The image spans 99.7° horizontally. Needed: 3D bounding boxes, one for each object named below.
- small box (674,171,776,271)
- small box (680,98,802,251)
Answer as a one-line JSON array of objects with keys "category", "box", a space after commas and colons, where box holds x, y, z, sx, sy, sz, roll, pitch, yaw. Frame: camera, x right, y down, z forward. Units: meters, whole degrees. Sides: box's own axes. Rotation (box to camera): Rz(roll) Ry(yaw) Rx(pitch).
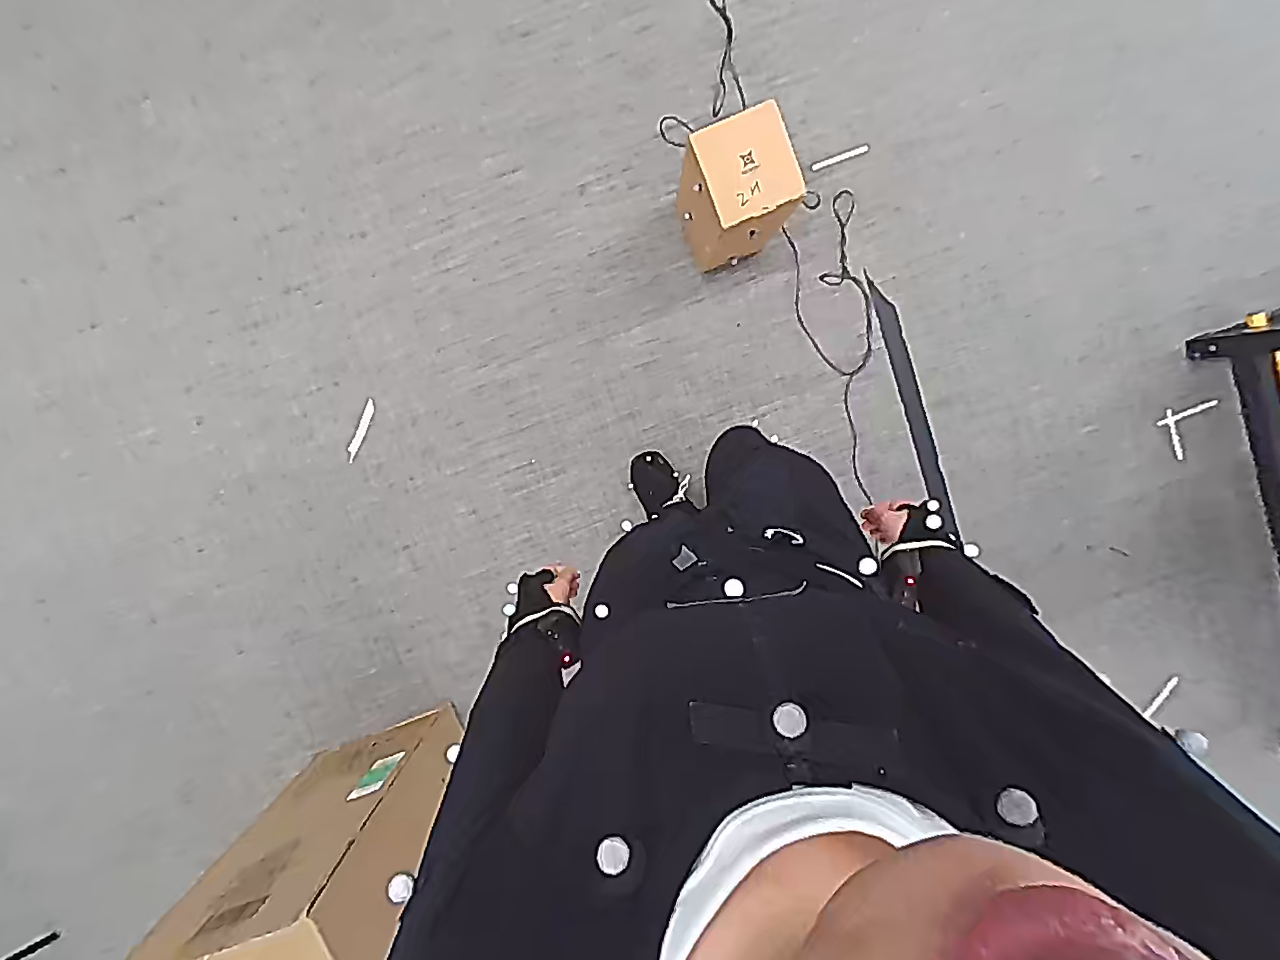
[{"category": "small box", "box": [0.181, -0.596, 1.207, 0.168, 0.176, 0.179, -20, 98, 2]}, {"category": "small box", "box": [0.184, -0.575, 1.043, 0.168, 0.176, 0.179, -22, 97, 3]}]
